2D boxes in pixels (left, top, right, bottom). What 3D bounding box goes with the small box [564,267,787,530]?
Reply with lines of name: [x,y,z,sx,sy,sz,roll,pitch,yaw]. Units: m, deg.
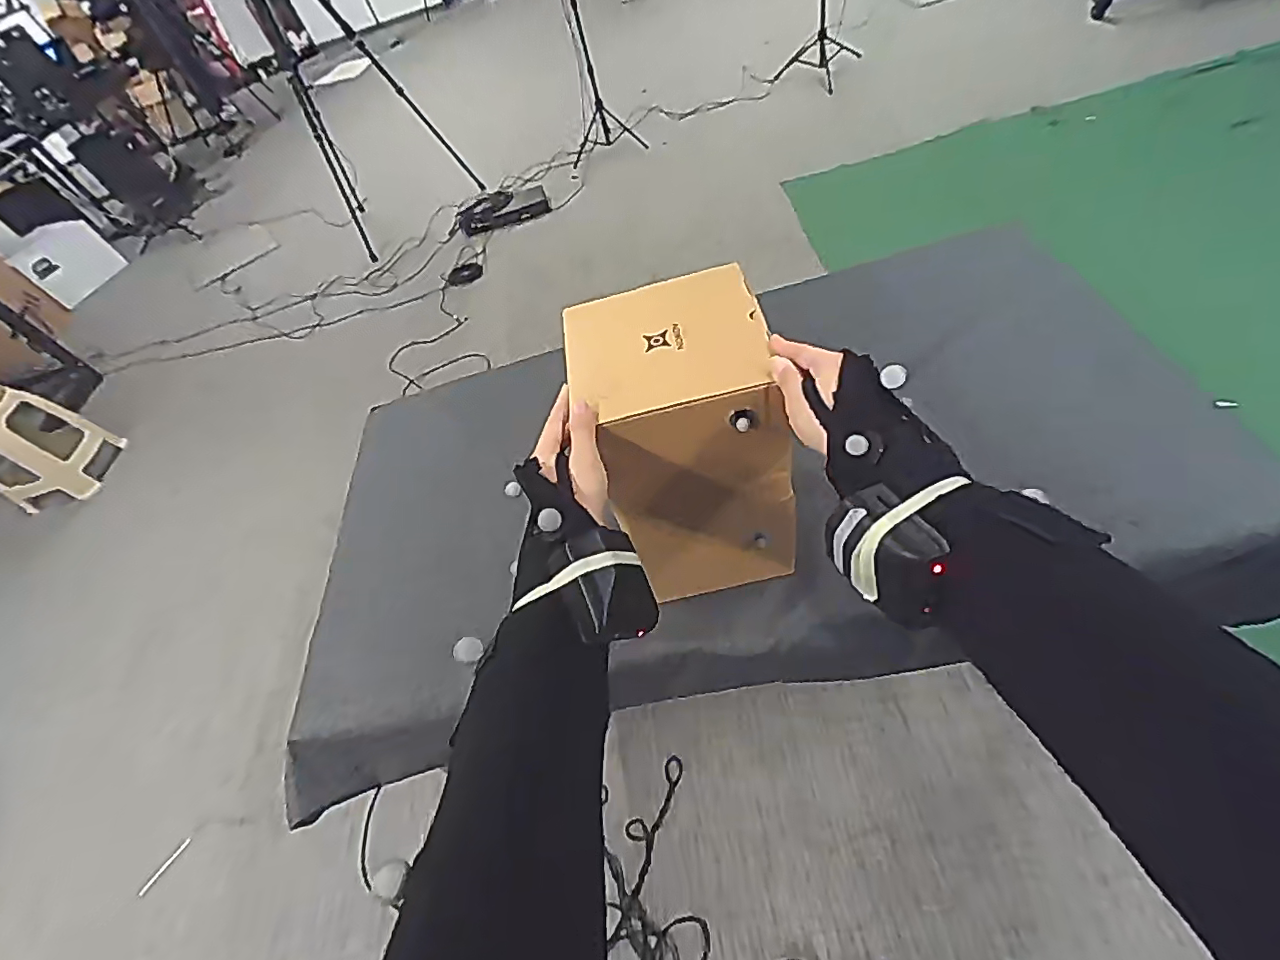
small box: [0.037,-0.071,0.529,0.179,0.176,0.168,-14,51,5]
